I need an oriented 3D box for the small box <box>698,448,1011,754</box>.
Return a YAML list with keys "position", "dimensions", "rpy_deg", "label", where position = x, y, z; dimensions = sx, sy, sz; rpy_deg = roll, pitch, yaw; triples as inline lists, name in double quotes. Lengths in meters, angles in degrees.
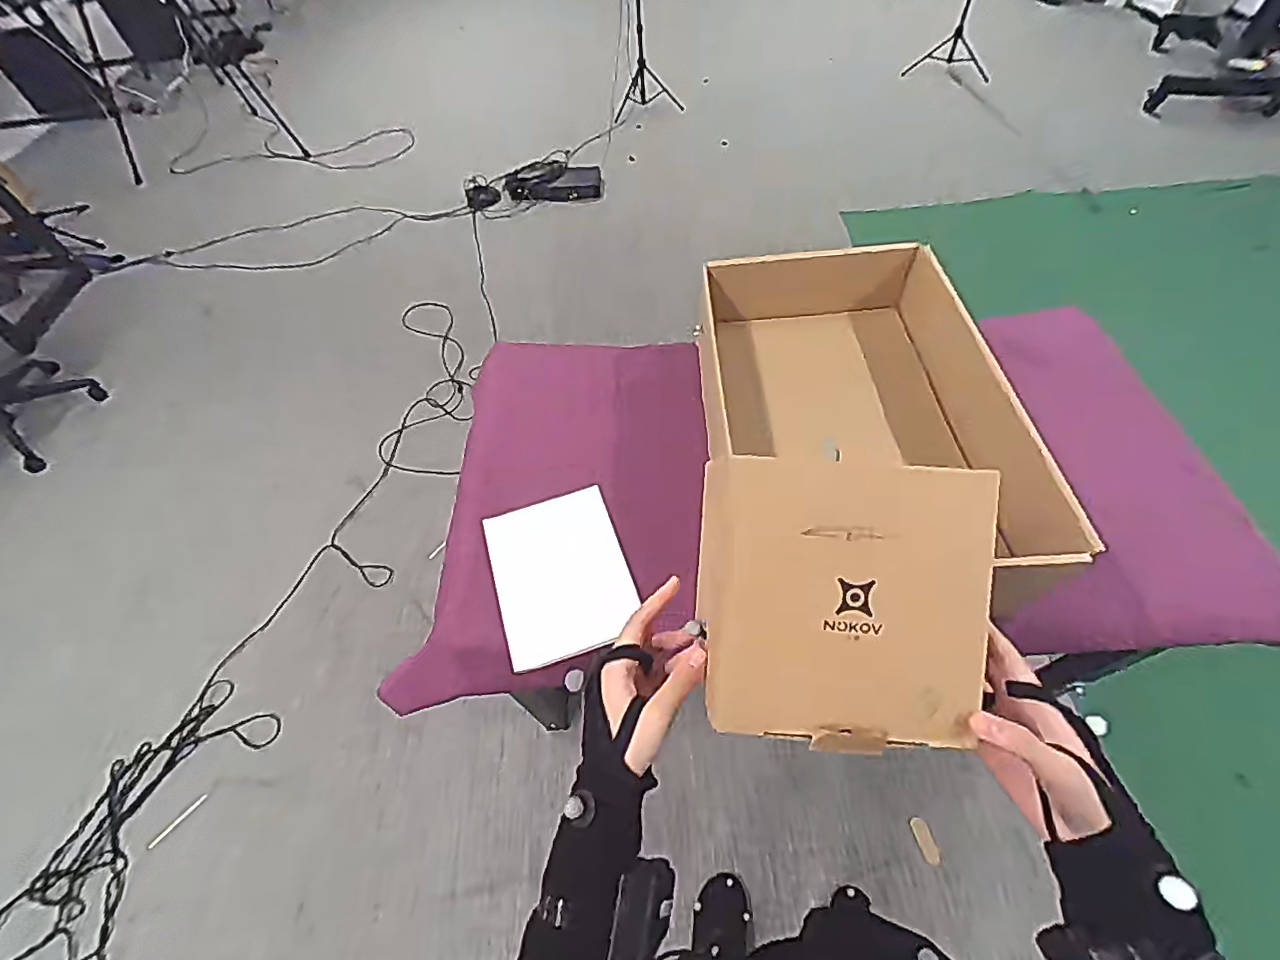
- position: [0.137, 0.074, 0.410]
  dimensions: [0.168, 0.176, 0.179]
  rpy_deg: [5, 90, 0]
  label: "small box"
